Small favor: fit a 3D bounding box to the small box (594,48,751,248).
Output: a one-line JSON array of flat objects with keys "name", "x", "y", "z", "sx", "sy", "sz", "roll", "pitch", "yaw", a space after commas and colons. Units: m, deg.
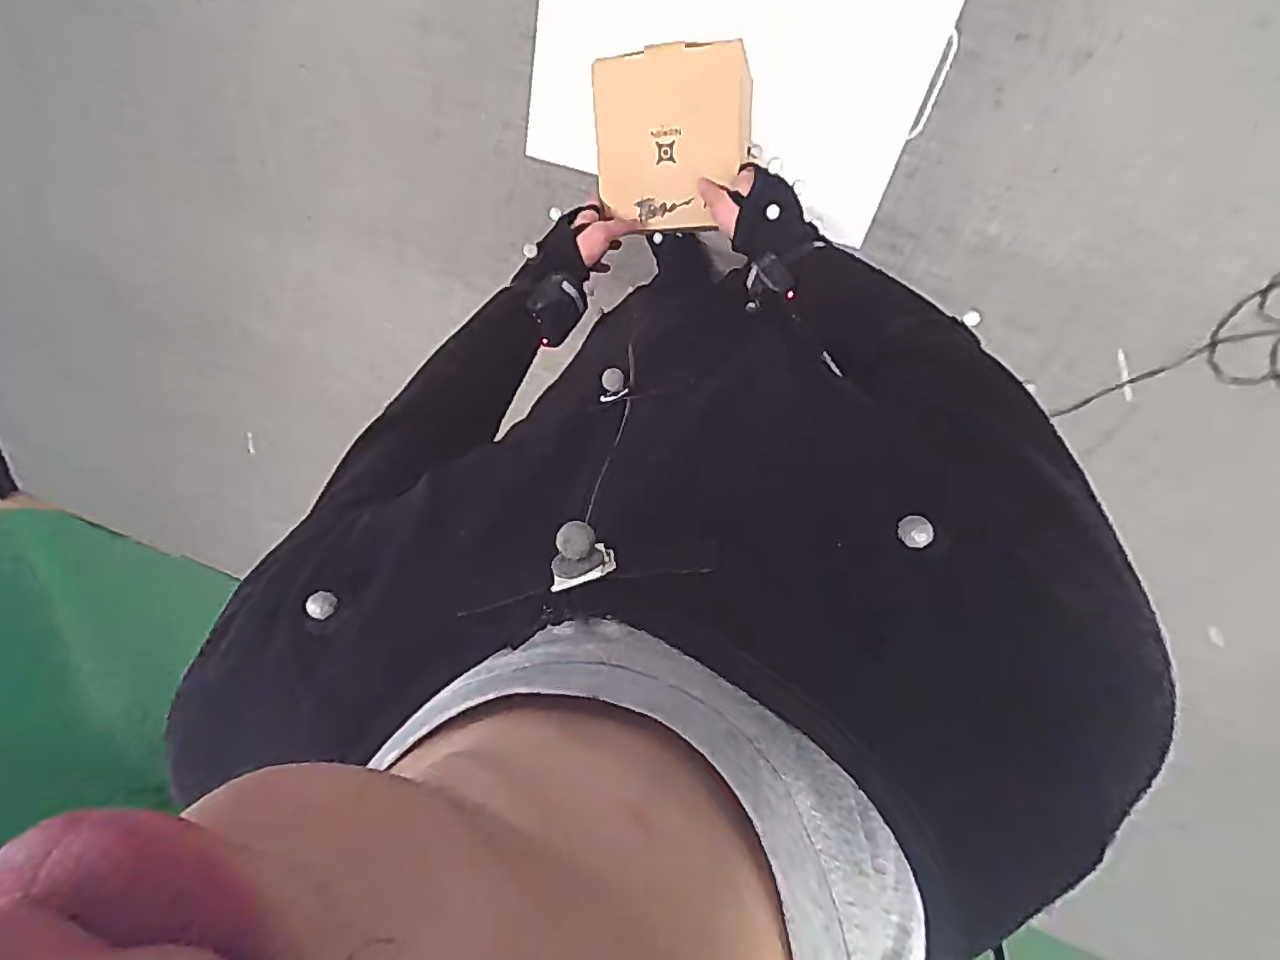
[{"name": "small box", "x": 0.050, "y": -0.396, "z": 0.679, "sx": 0.168, "sy": 0.176, "sz": 0.179, "roll": 1, "pitch": 111, "yaw": 15}]
